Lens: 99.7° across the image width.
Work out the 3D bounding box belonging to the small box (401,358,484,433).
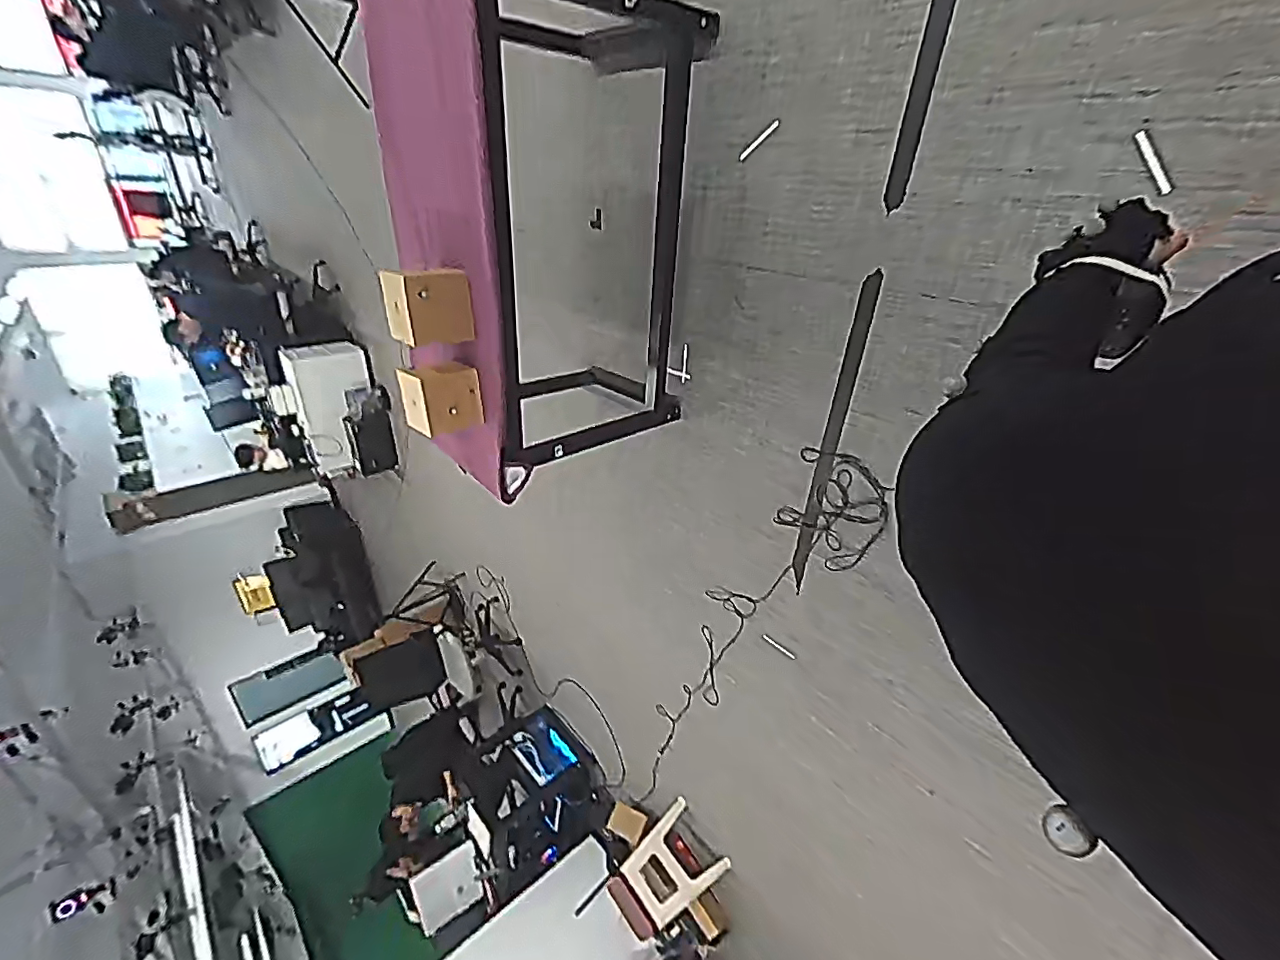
[{"bbox_3d":[-0.560,-0.250,1.558,0.179,0.176,0.168,24,125,44],"label":"small box"}]

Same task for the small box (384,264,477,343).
[{"bbox_3d":[-0.552,-0.474,1.433,0.168,0.176,0.179,27,127,43],"label":"small box"}]
